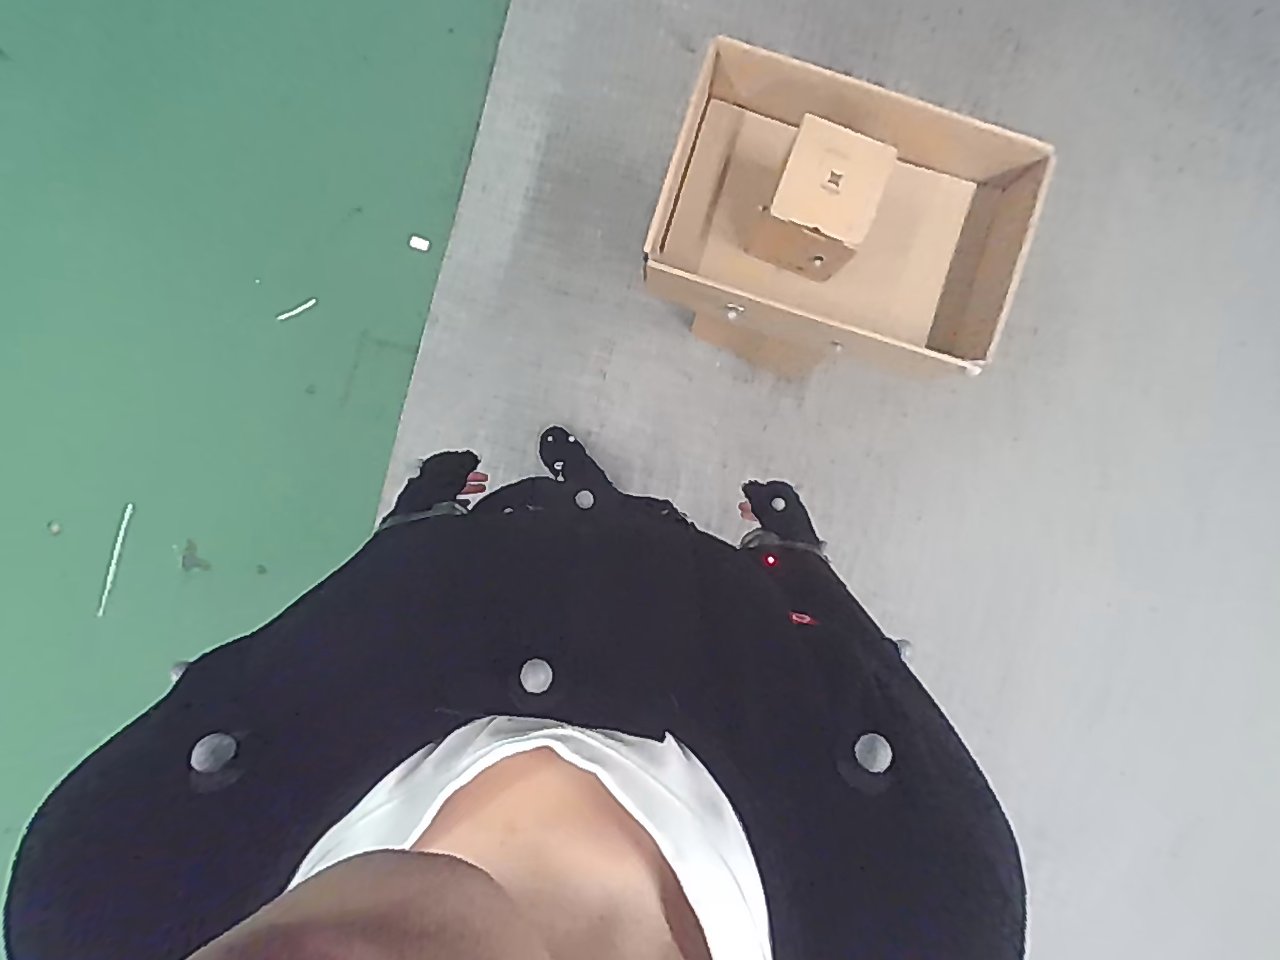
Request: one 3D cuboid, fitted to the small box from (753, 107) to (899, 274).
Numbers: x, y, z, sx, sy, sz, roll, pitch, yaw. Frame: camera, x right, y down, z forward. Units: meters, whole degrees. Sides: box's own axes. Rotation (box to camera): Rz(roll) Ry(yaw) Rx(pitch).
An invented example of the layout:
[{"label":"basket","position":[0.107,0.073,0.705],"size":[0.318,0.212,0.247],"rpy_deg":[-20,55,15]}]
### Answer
[{"label":"small box","position":[0.314,-0.493,0.952],"size":[0.168,0.176,0.179],"rpy_deg":[20,90,-3]}]
